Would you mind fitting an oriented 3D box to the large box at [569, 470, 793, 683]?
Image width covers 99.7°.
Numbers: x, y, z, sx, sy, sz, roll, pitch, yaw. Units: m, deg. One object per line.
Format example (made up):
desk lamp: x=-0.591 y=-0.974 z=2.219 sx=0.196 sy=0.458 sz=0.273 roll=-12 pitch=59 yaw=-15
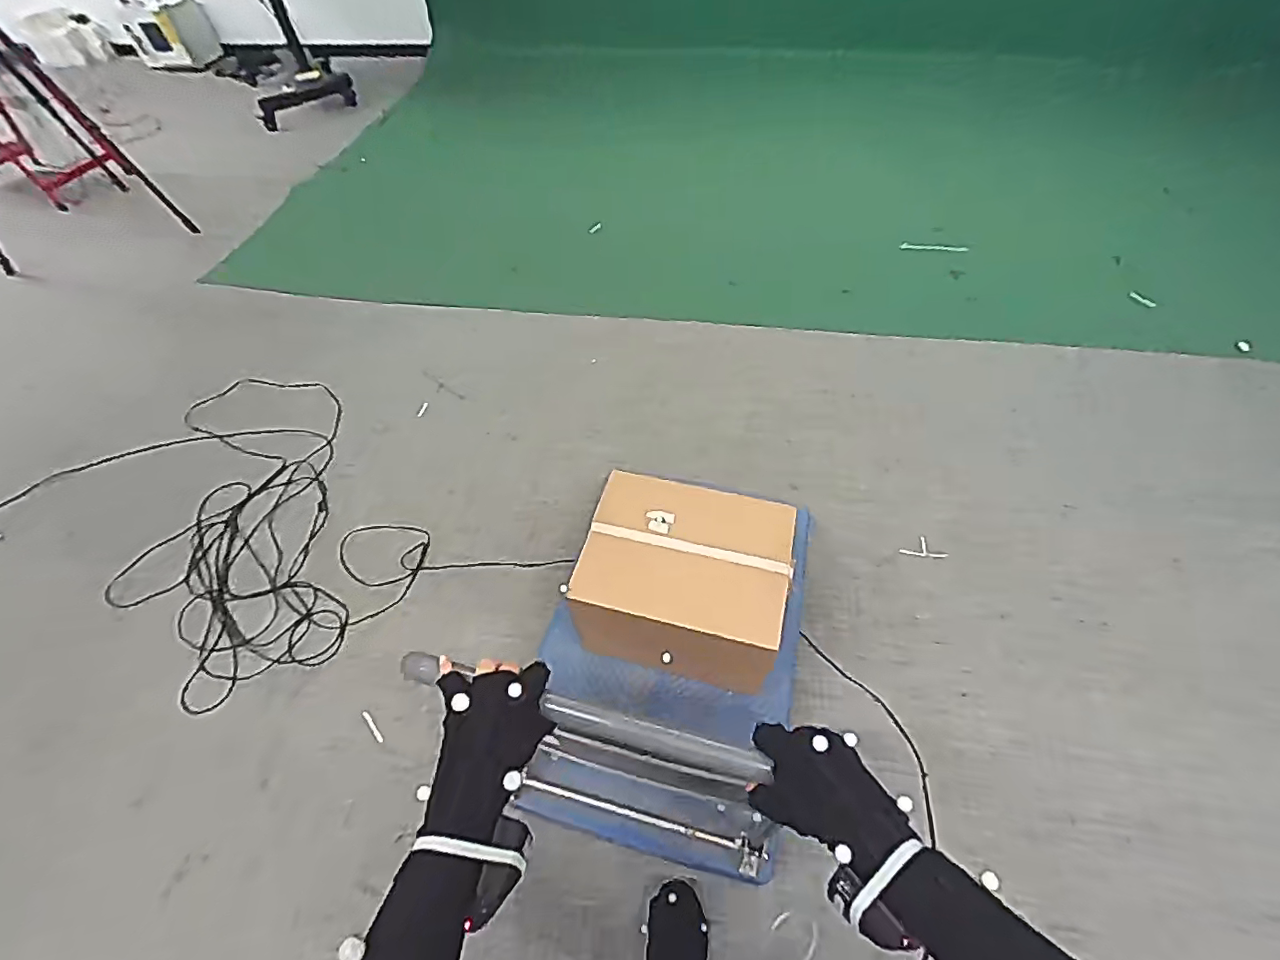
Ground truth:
large box: x=0.101 y=0.217 z=1.203 sx=0.408 sy=0.320 sz=0.320 roll=11 pitch=55 yaw=12
